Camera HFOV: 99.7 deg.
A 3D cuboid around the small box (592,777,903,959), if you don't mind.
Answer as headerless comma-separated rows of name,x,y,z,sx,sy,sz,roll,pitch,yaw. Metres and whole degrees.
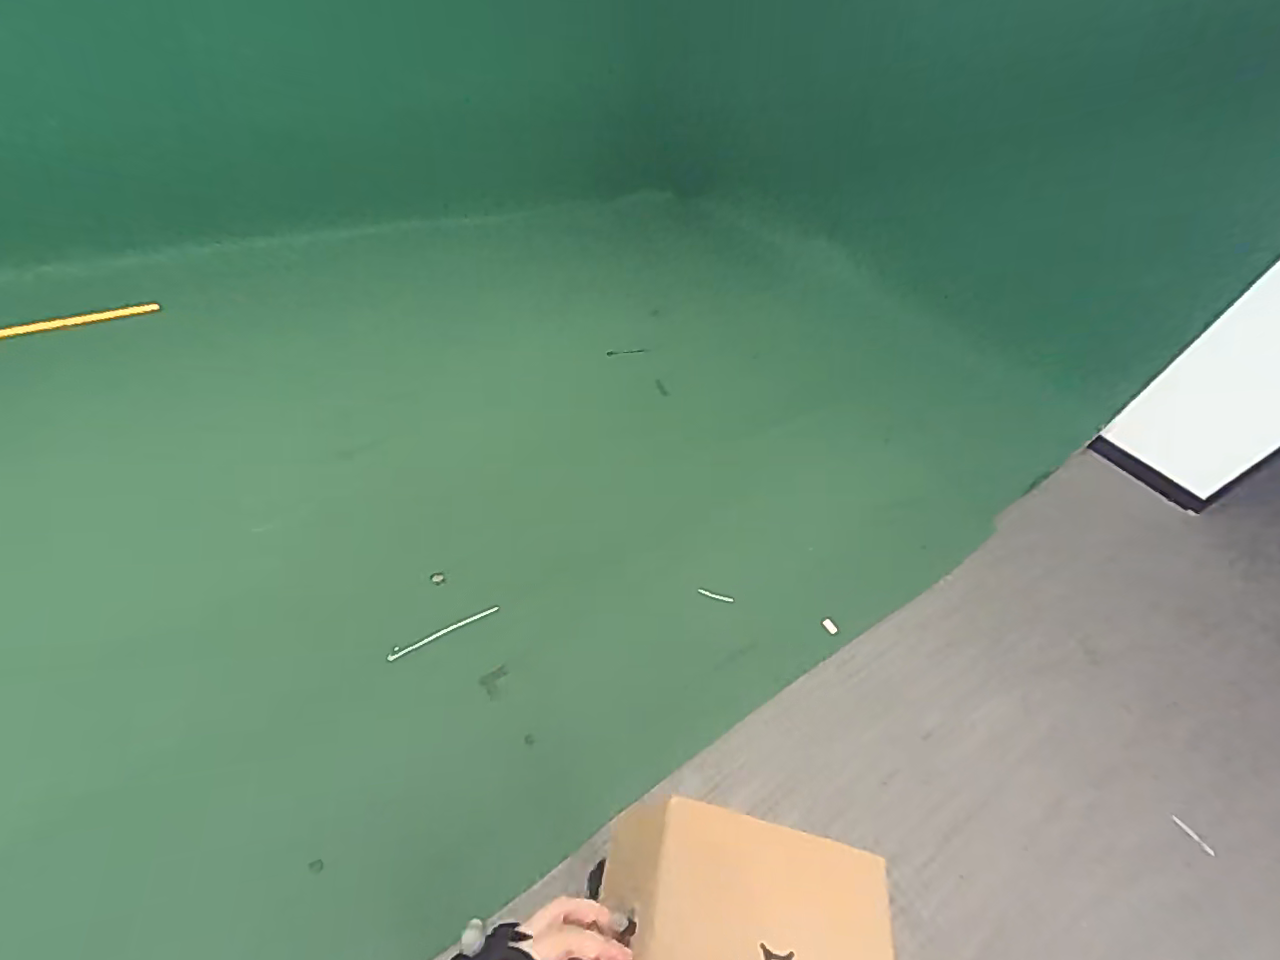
small box,0.065,0.343,0.388,0.168,0.176,0.179,20,50,-5
